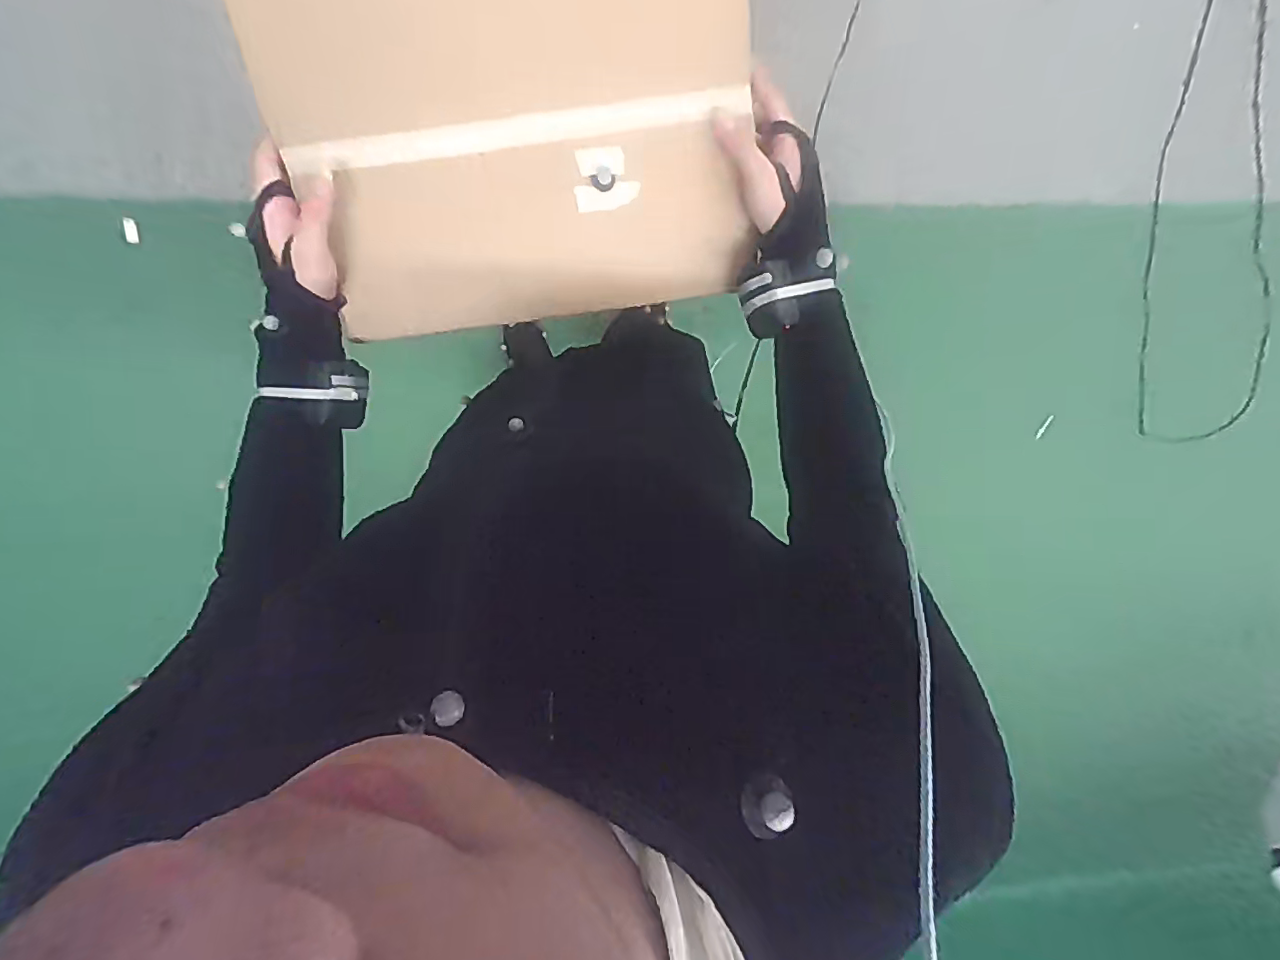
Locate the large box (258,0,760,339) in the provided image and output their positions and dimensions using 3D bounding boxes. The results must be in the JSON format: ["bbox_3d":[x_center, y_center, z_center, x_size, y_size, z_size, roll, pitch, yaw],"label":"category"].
[{"bbox_3d":[-0.108,-0.365,0.616,0.408,0.320,0.320,-8,115,-2],"label":"large box"}]
